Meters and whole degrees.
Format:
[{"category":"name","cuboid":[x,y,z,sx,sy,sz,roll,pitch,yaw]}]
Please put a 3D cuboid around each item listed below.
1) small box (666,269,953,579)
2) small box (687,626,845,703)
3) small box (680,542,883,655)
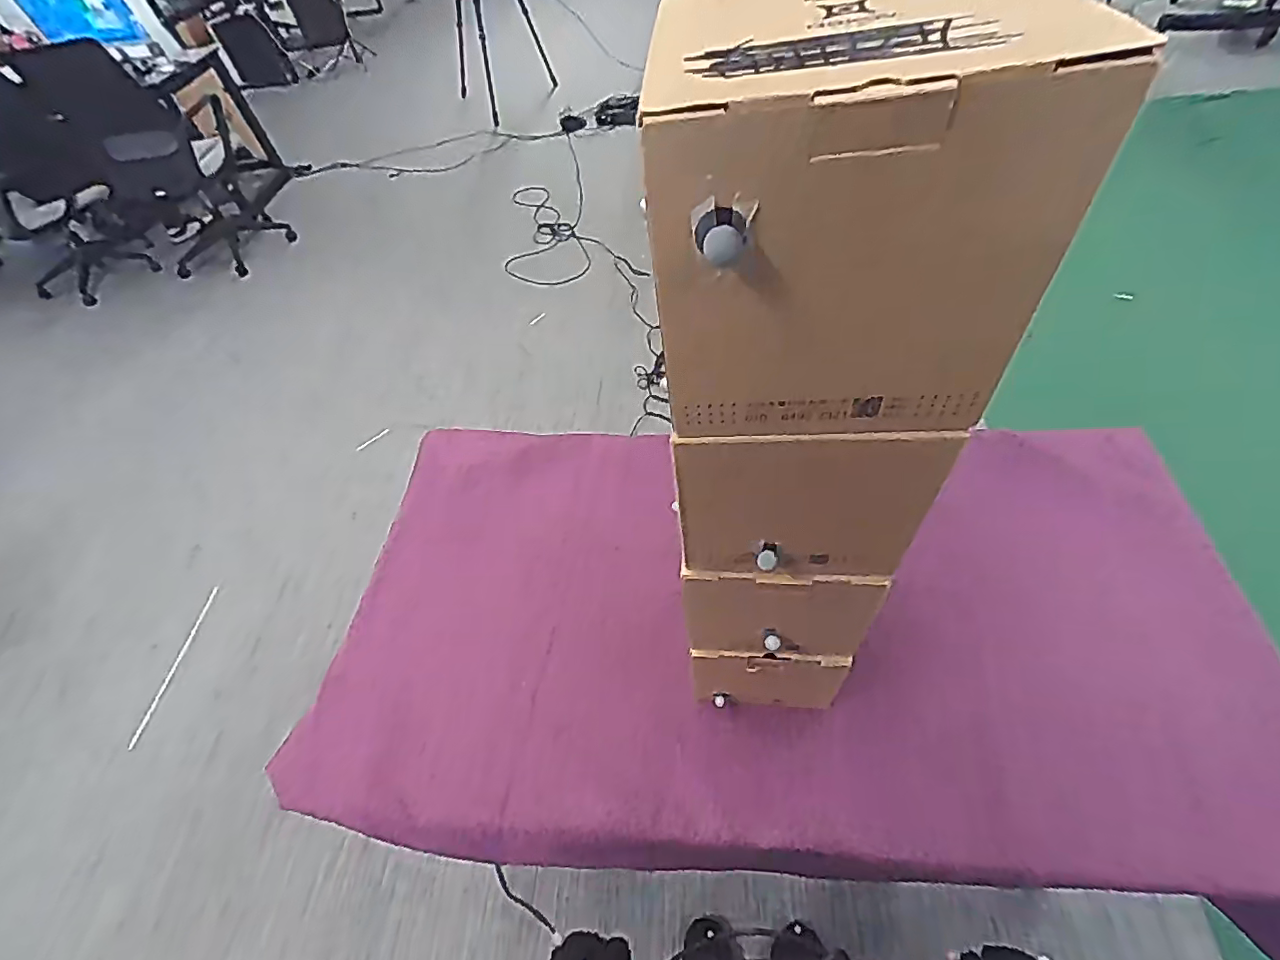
[{"category":"small box","cuboid":[0.113,-0.041,0.427,0.168,0.176,0.179,0,53,9]},{"category":"small box","cuboid":[0.151,0.166,0.678,0.168,0.176,0.179,1,53,9]},{"category":"small box","cuboid":[0.131,0.061,0.553,0.168,0.176,0.179,0,53,9]}]
